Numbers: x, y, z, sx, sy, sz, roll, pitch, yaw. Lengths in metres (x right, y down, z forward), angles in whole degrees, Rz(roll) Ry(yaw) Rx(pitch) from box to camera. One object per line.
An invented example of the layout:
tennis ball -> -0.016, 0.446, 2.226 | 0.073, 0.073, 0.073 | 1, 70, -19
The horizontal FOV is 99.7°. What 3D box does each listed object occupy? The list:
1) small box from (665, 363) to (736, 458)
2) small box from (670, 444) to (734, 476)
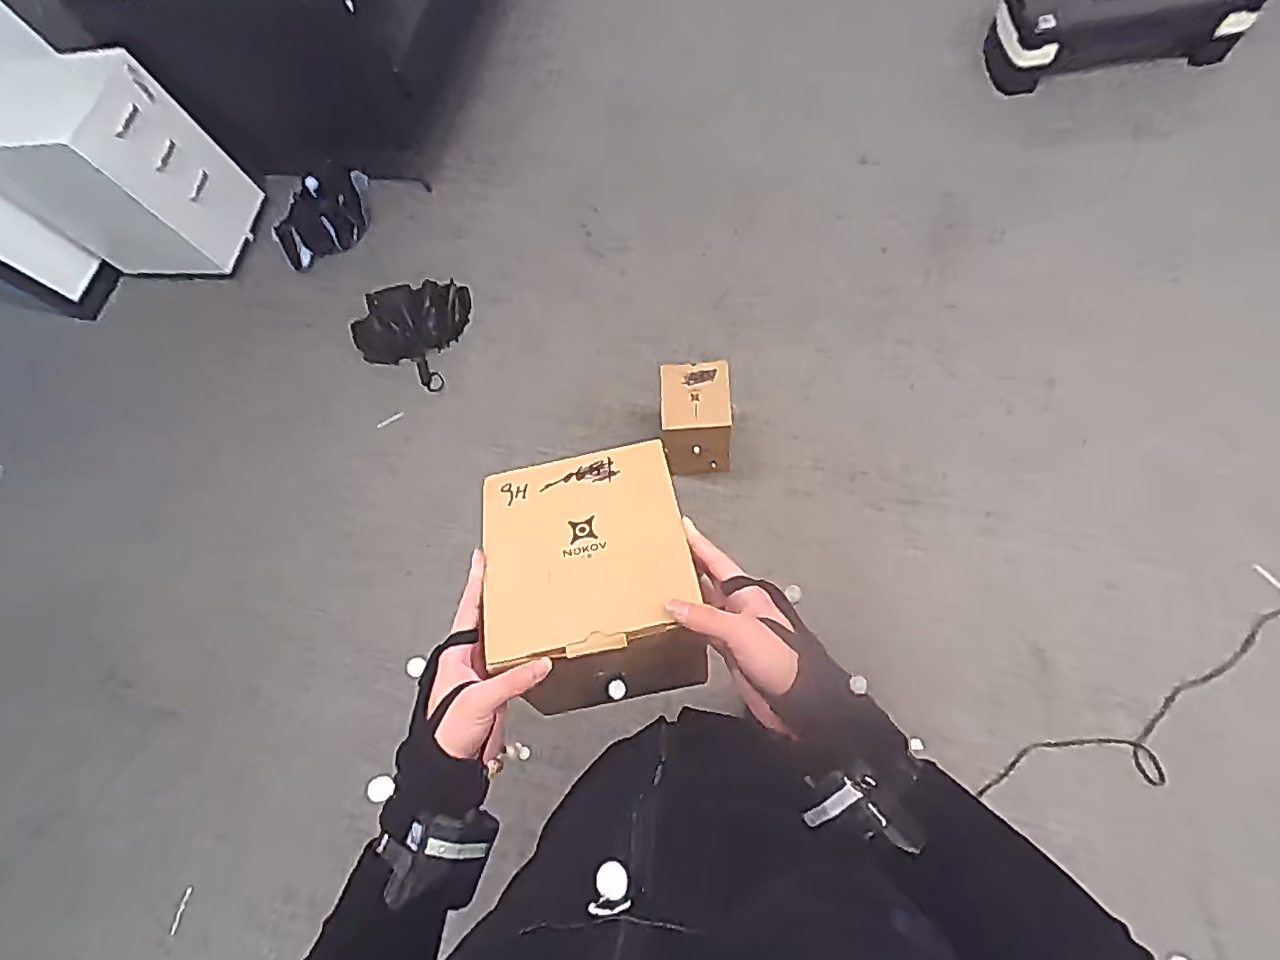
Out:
small box -> 0.152, -0.169, 1.352 | 0.168, 0.176, 0.179 | -4, 71, 9
small box -> 0.175, -0.117, 1.507 | 0.168, 0.176, 0.179 | -4, 68, 8
